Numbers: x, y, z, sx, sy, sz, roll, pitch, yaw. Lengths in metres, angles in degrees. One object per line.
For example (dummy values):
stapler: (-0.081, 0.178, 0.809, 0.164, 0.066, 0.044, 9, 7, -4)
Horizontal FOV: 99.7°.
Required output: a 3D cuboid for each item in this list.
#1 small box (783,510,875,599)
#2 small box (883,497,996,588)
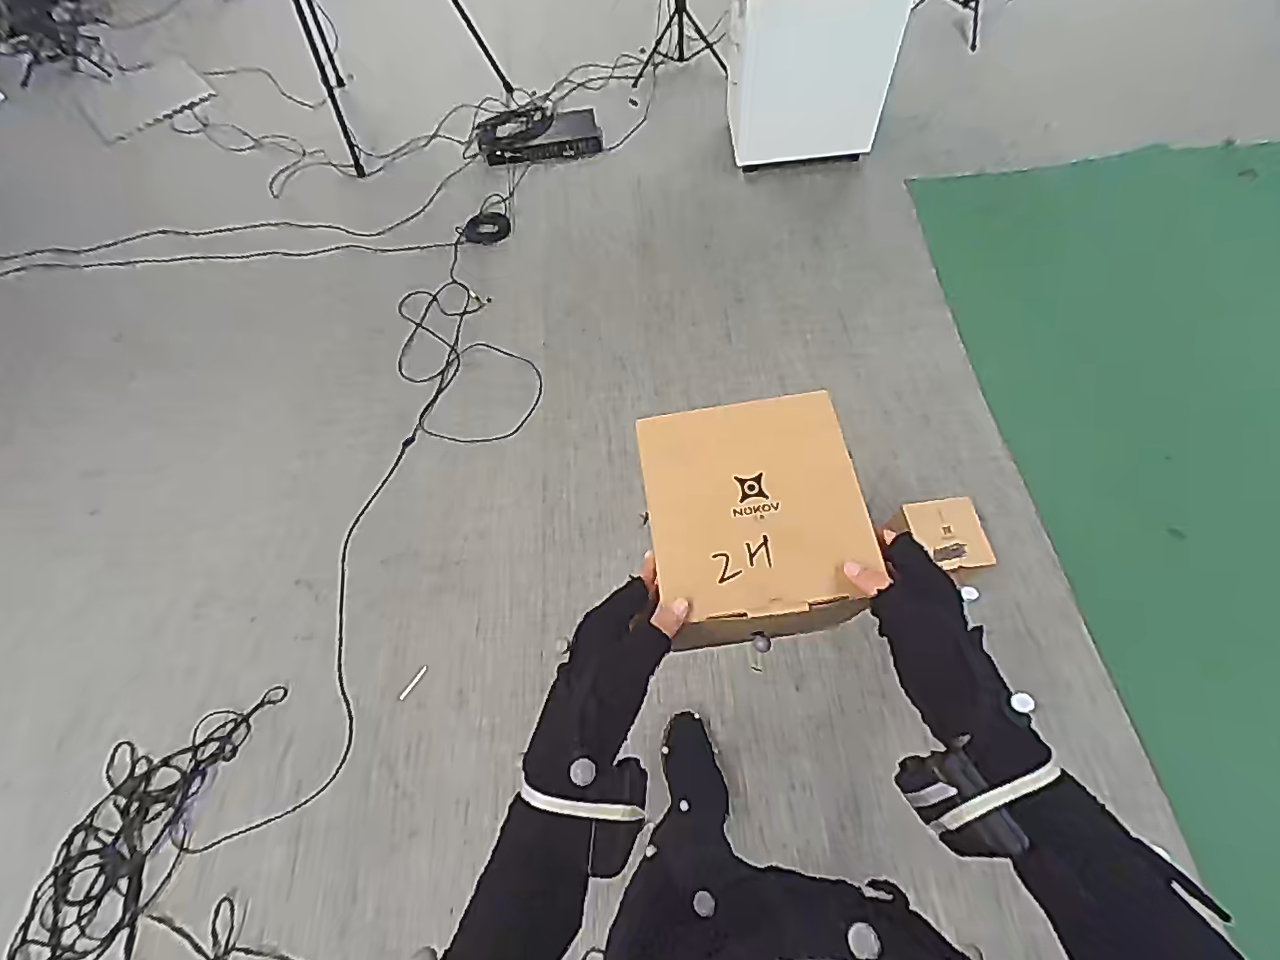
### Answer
small box: (0.461, 0.189, 1.350, 0.168, 0.176, 0.179, -4, 64, 3)
small box: (0.728, 0.163, 1.335, 0.168, 0.176, 0.179, -7, 63, 2)
